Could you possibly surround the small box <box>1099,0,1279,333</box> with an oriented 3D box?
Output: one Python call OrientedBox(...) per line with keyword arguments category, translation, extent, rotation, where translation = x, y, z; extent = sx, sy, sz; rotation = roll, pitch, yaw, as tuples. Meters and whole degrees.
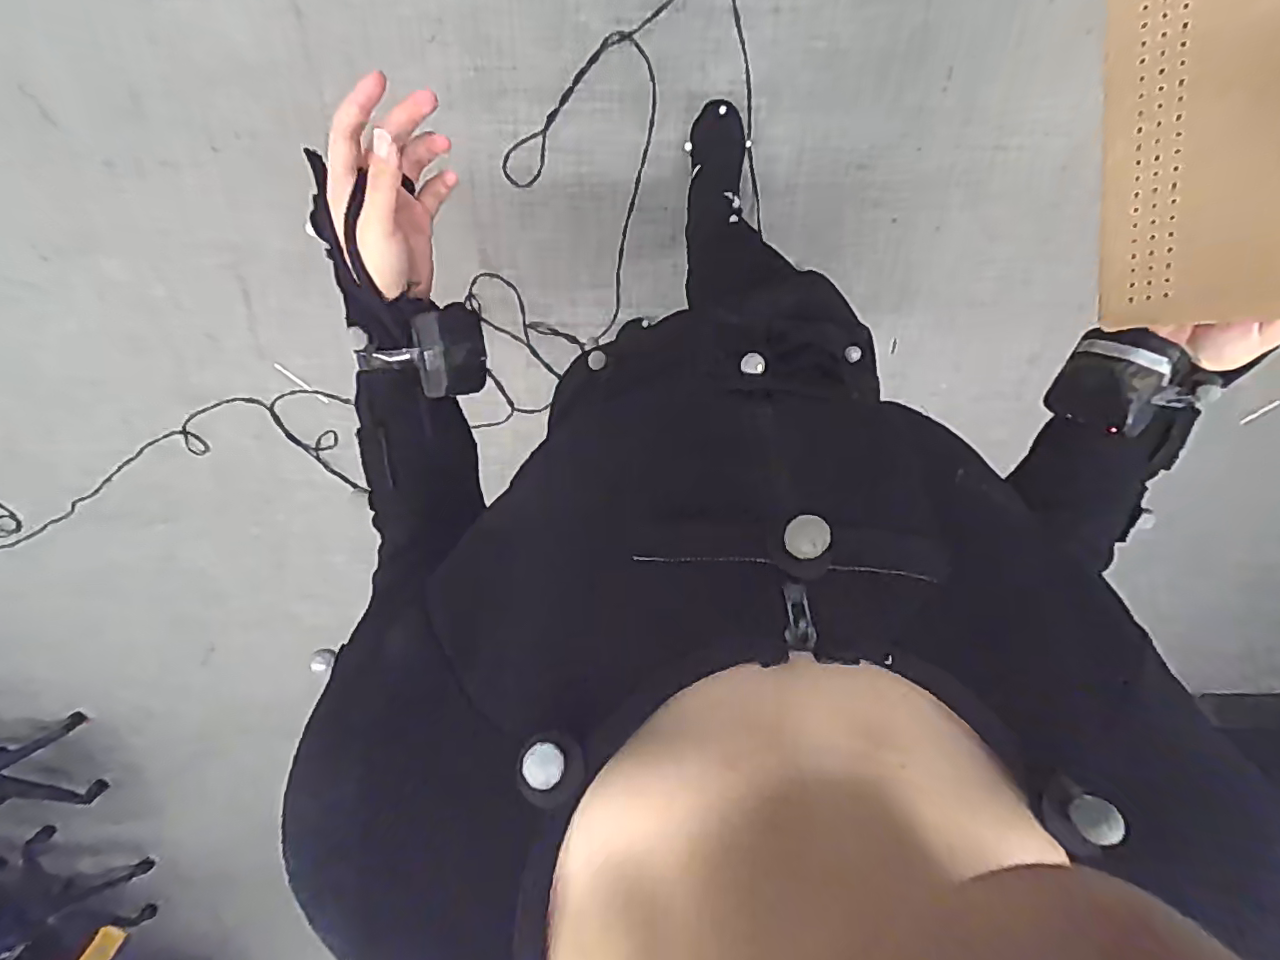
OrientedBox(category="small box", translation=(0.313, -0.164, 0.201), extent=(0.168, 0.176, 0.179), rotation=(-18, 105, -17))
